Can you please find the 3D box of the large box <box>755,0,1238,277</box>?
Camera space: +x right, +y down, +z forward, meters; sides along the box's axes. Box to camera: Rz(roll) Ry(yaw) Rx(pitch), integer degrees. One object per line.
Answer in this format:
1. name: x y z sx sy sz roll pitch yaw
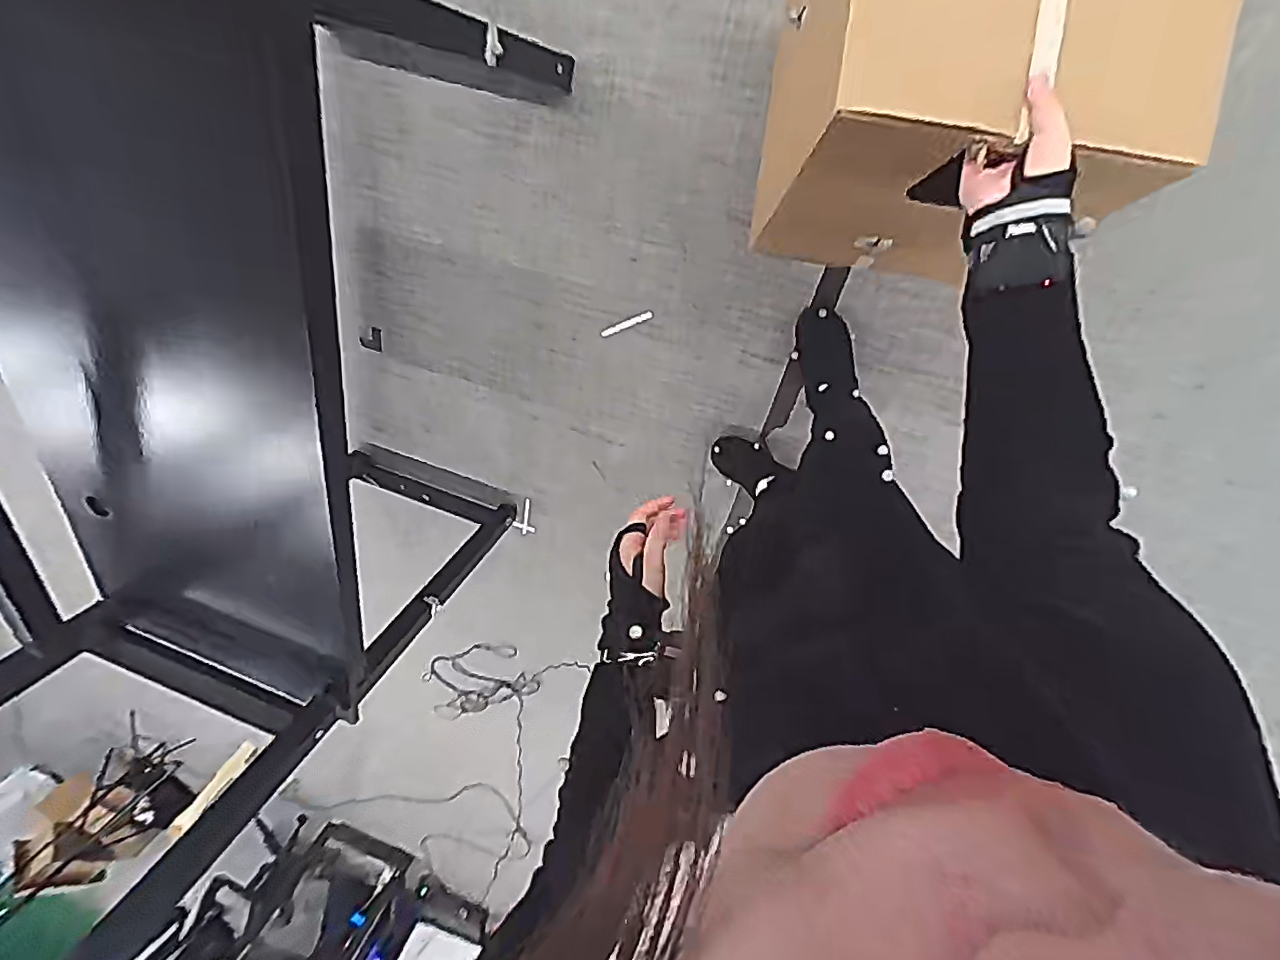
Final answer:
1. large box: 0.322 -0.473 0.565 0.320 0.320 0.408 7 92 -2
